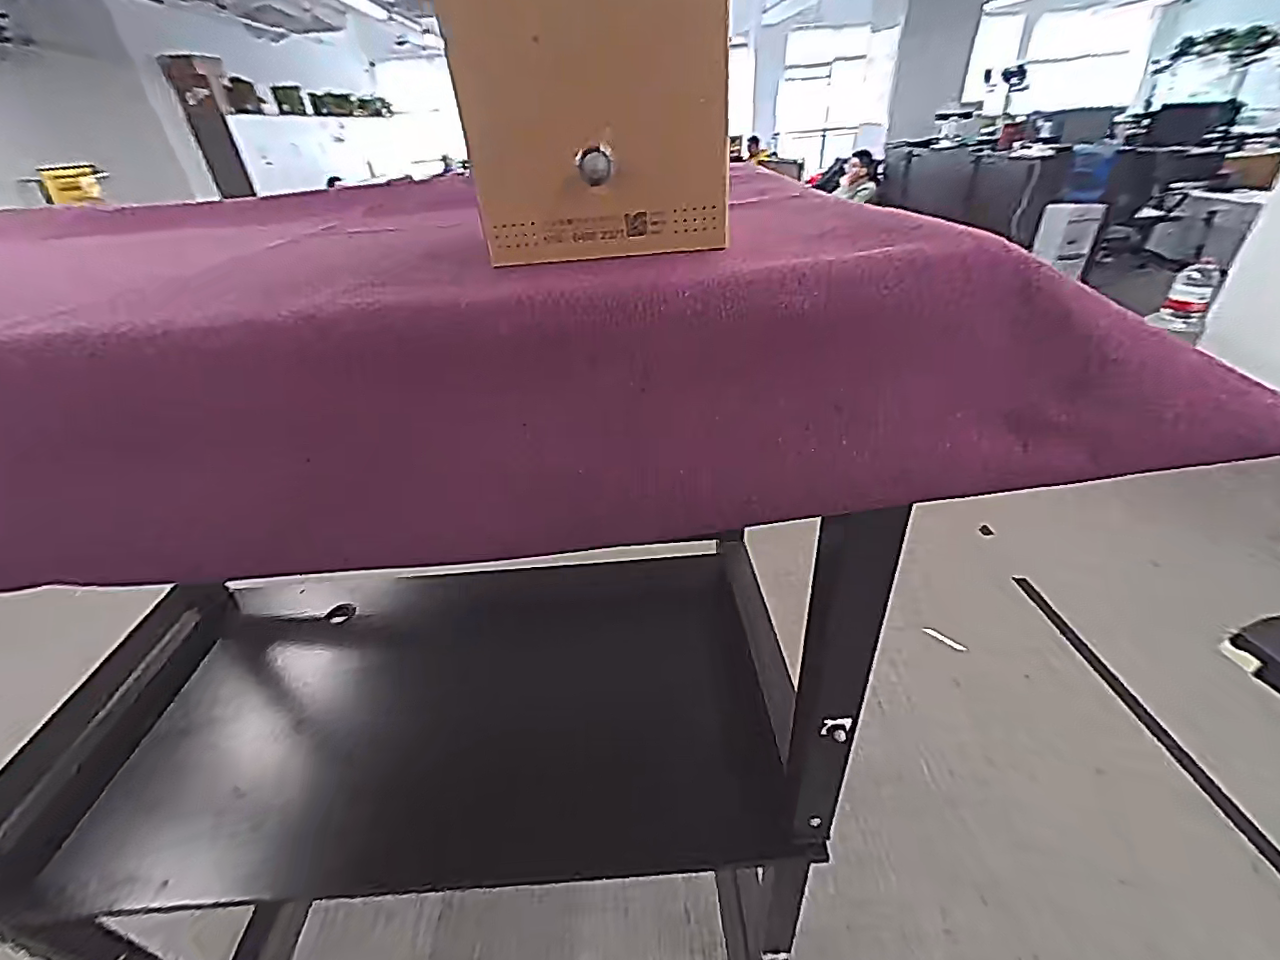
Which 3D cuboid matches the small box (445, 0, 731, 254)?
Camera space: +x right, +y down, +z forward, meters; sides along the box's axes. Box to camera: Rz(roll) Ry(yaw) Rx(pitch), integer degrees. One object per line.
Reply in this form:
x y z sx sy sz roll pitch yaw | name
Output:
-0.027 -0.269 0.393 0.168 0.176 0.179 -3 33 3 | small box
